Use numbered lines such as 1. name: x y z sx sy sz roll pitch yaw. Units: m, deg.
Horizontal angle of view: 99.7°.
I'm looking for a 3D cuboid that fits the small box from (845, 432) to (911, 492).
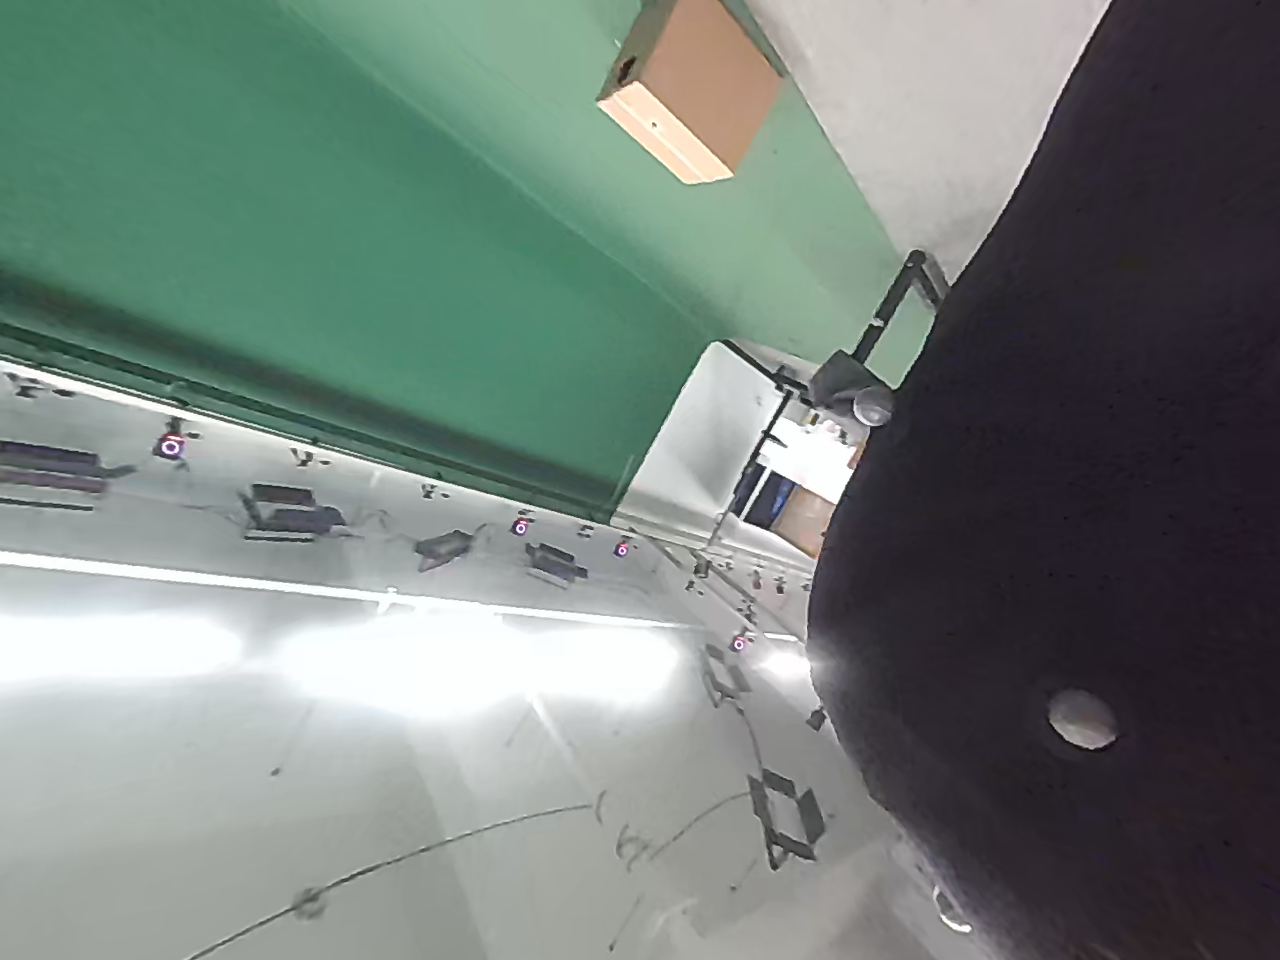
1. small box: 0.982 -0.075 2.213 0.168 0.176 0.179 20 -167 -47
